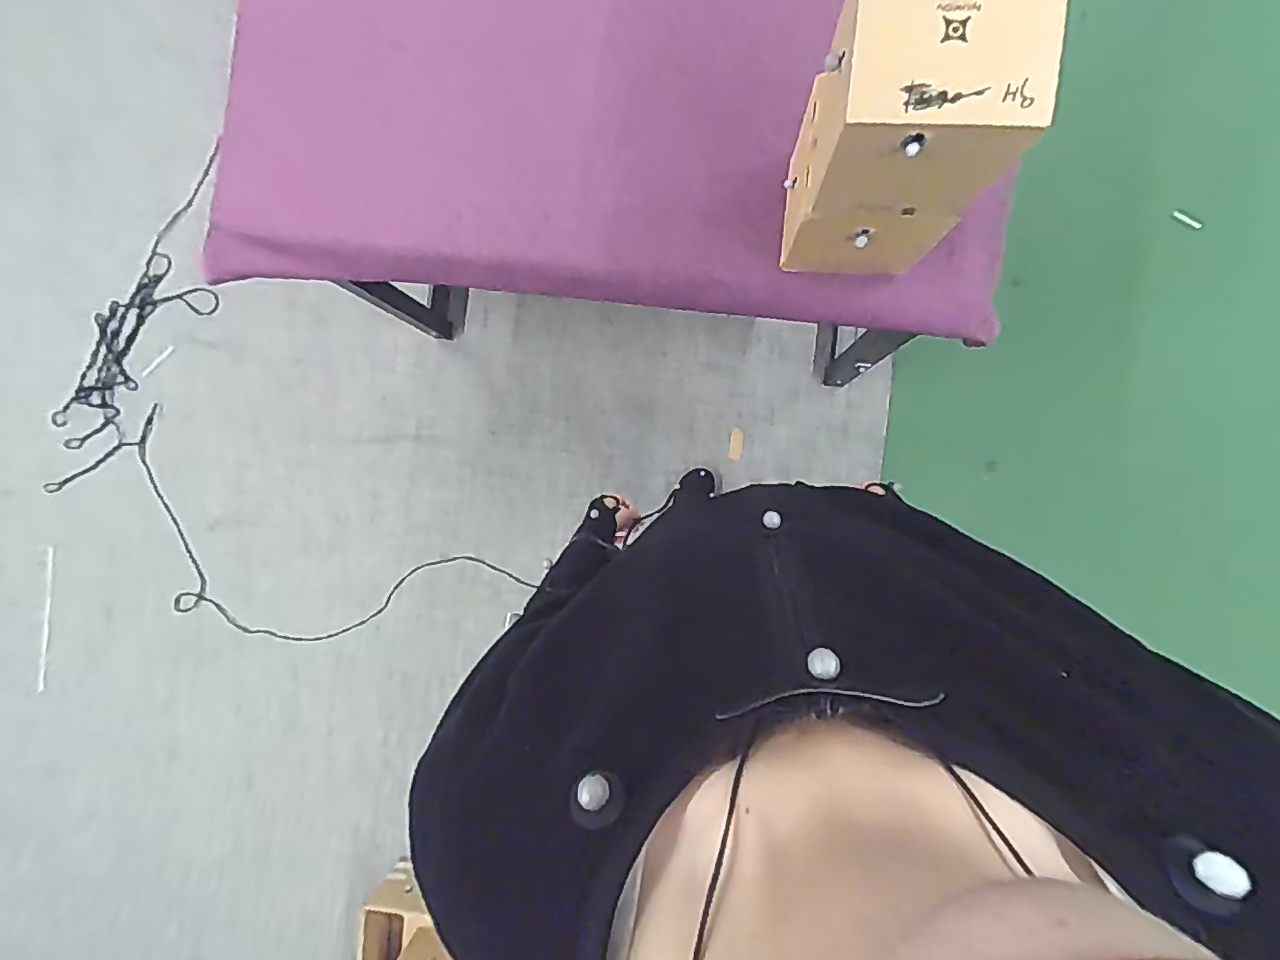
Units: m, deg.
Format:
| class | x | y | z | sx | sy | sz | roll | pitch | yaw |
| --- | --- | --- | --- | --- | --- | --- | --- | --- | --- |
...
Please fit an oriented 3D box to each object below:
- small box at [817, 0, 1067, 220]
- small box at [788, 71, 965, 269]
| class | x | y | z | sx | sy | sz | roll | pitch | yaw |
| --- | --- | --- | --- | --- | --- | --- | --- | --- | --- |
| small box | 0.276 | -0.384 | 0.529 | 0.168 | 0.176 | 0.179 | 6 | 91 | 9 |
| small box | 0.296 | -0.383 | 0.692 | 0.179 | 0.176 | 0.168 | 5 | 91 | 9 |
